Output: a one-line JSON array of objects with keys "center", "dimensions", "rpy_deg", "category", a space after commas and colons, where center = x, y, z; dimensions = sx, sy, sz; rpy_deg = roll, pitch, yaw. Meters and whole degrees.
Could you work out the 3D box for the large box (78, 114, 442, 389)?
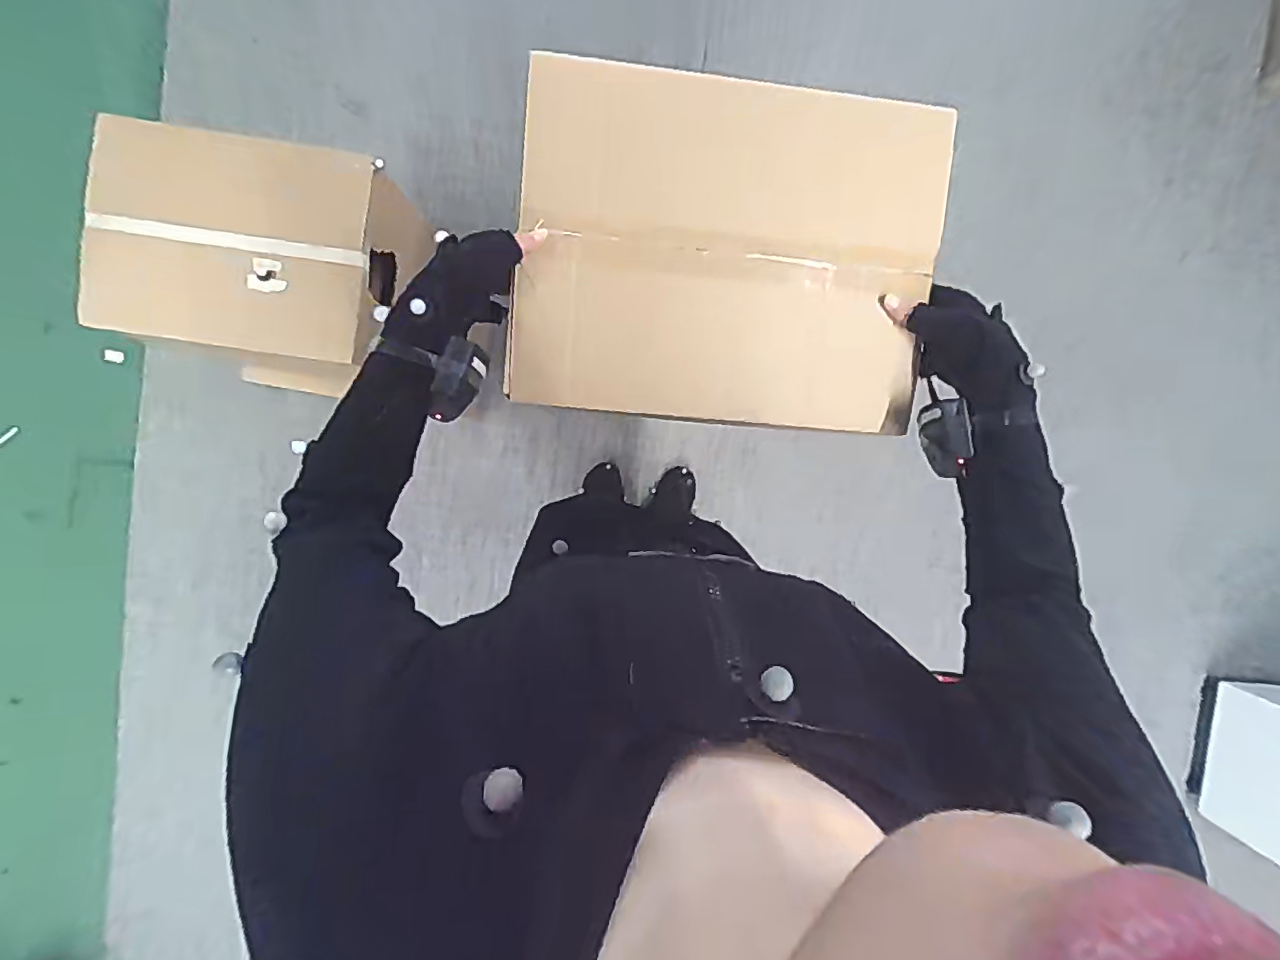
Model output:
[{"center": [-0.612, -0.361, 0.947], "dimensions": [0.408, 0.320, 0.320], "rpy_deg": [8, 90, -3], "category": "large box"}]
